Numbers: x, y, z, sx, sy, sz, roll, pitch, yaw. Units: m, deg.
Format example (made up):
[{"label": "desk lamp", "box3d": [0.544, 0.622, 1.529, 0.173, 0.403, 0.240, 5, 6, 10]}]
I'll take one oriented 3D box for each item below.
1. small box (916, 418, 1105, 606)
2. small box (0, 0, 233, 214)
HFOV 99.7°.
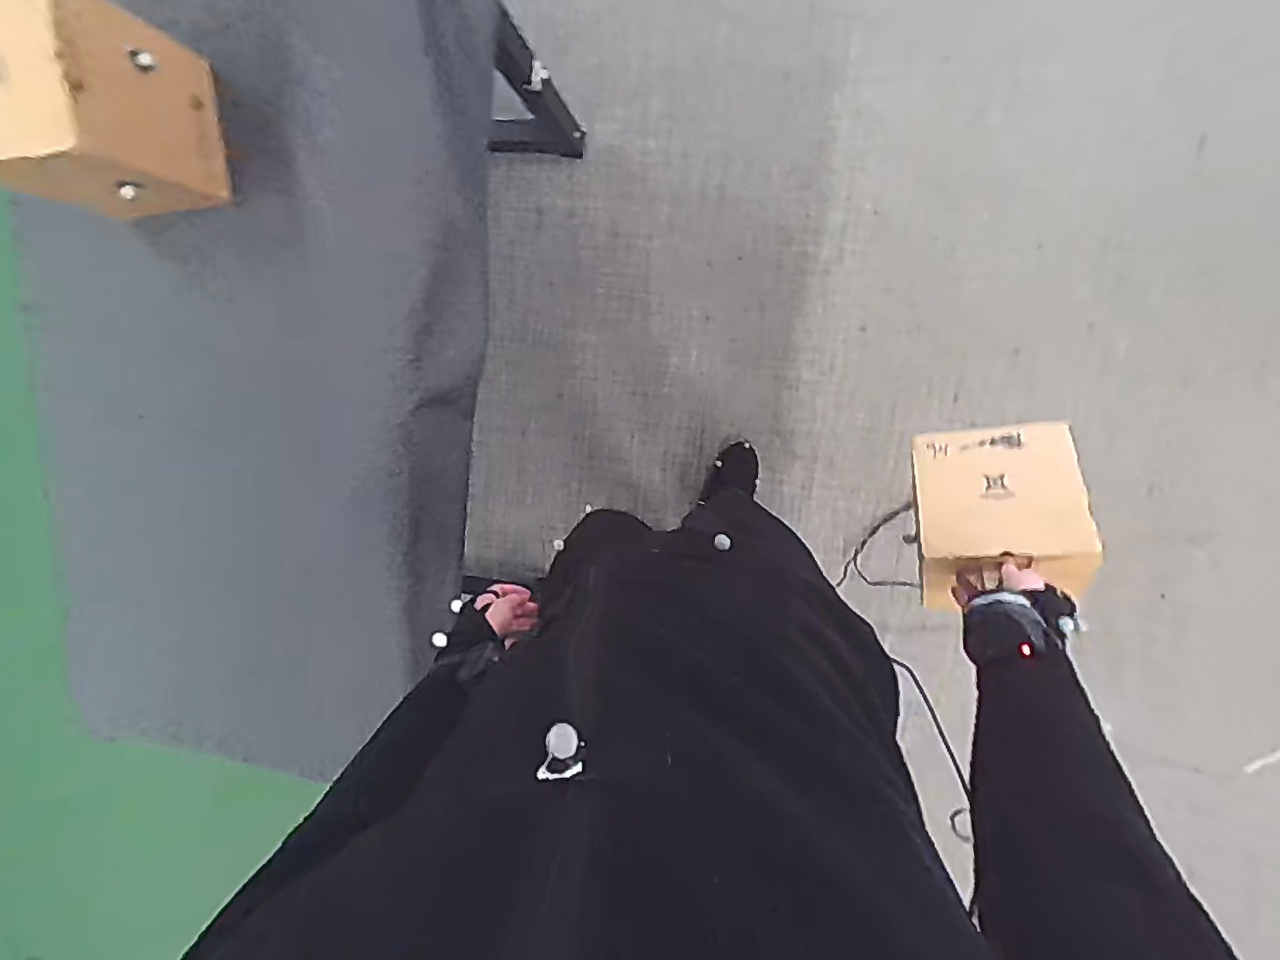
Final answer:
[{"label": "small box", "box3d": [0.446, 0.049, 0.677, 0.168, 0.176, 0.179, -4, 56, 27]}, {"label": "small box", "box3d": [-0.609, -0.425, 0.620, 0.179, 0.176, 0.168, -2, 97, 12]}]
